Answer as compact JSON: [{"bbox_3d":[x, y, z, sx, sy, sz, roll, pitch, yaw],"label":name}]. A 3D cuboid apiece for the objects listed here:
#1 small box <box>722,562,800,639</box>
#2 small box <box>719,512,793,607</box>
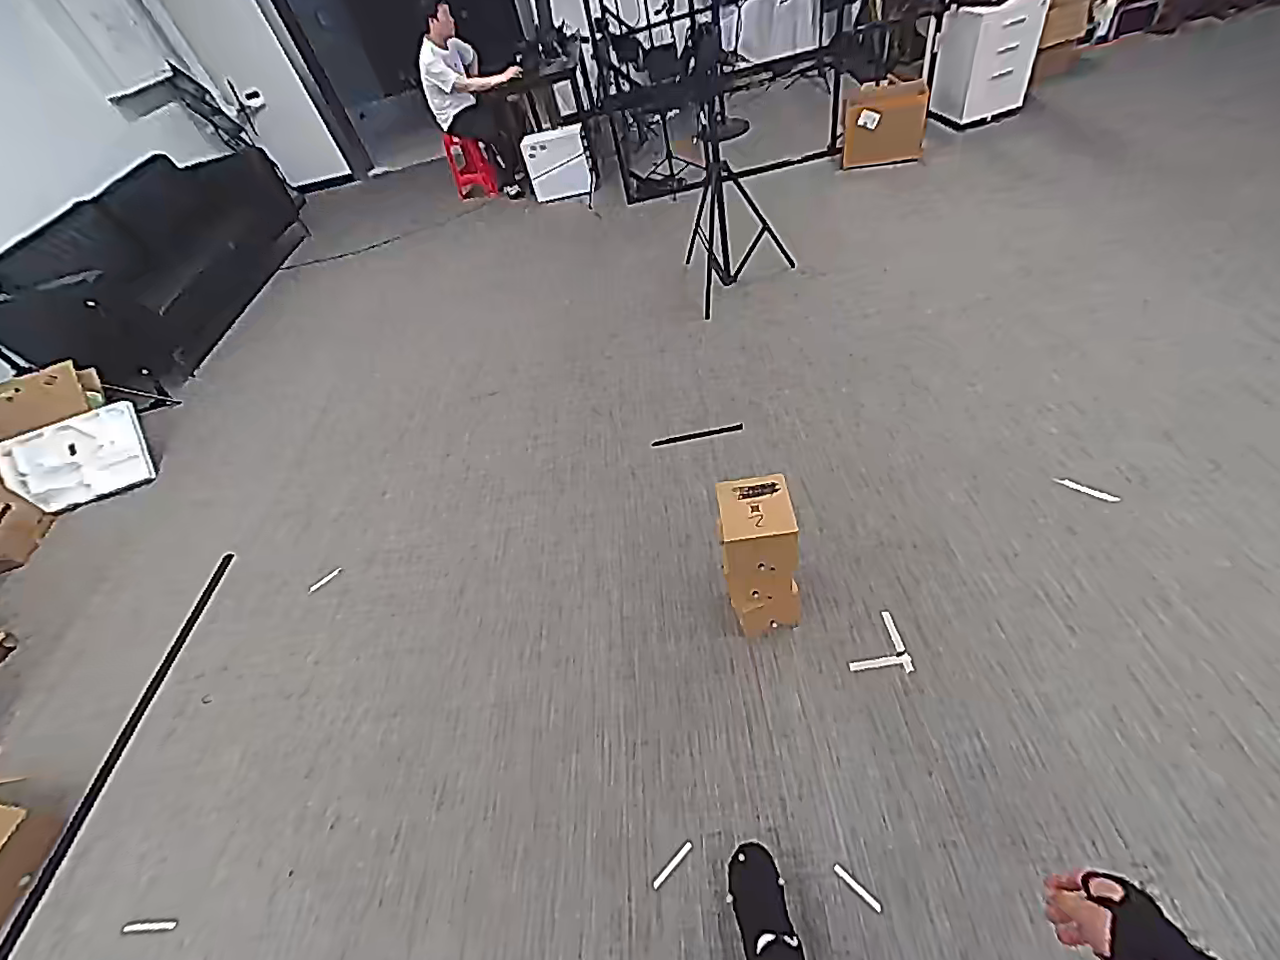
[{"bbox_3d":[0.345,0.323,1.550,0.168,0.176,0.179,-19,47,-1],"label":"small box"},{"bbox_3d":[0.305,0.213,1.437,0.168,0.176,0.179,-9,47,7],"label":"small box"}]
